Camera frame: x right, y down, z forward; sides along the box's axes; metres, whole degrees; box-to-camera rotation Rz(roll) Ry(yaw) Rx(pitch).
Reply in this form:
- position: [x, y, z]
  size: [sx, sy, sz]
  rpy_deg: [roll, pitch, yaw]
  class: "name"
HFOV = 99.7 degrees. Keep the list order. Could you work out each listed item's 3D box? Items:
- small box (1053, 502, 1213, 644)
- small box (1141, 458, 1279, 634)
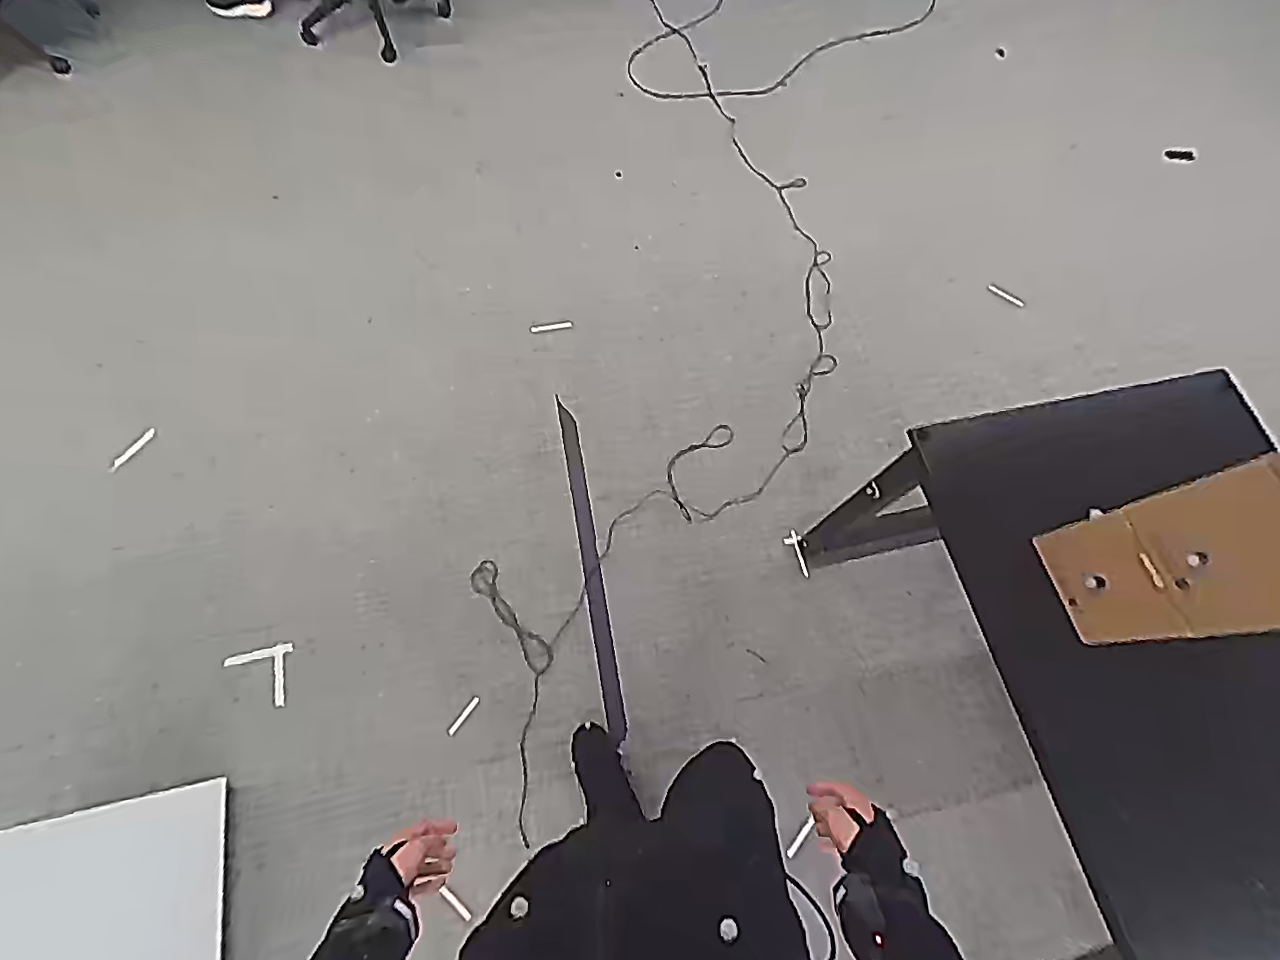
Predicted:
- position: [0.723, 0.122, 0.743]
  size: [0.179, 0.176, 0.168]
  rpy_deg: [-13, 70, -5]
  class: "small box"
- position: [0.728, 0.063, 0.589]
  size: [0.179, 0.176, 0.168]
  rpy_deg: [-12, 69, -5]
  class: "small box"
